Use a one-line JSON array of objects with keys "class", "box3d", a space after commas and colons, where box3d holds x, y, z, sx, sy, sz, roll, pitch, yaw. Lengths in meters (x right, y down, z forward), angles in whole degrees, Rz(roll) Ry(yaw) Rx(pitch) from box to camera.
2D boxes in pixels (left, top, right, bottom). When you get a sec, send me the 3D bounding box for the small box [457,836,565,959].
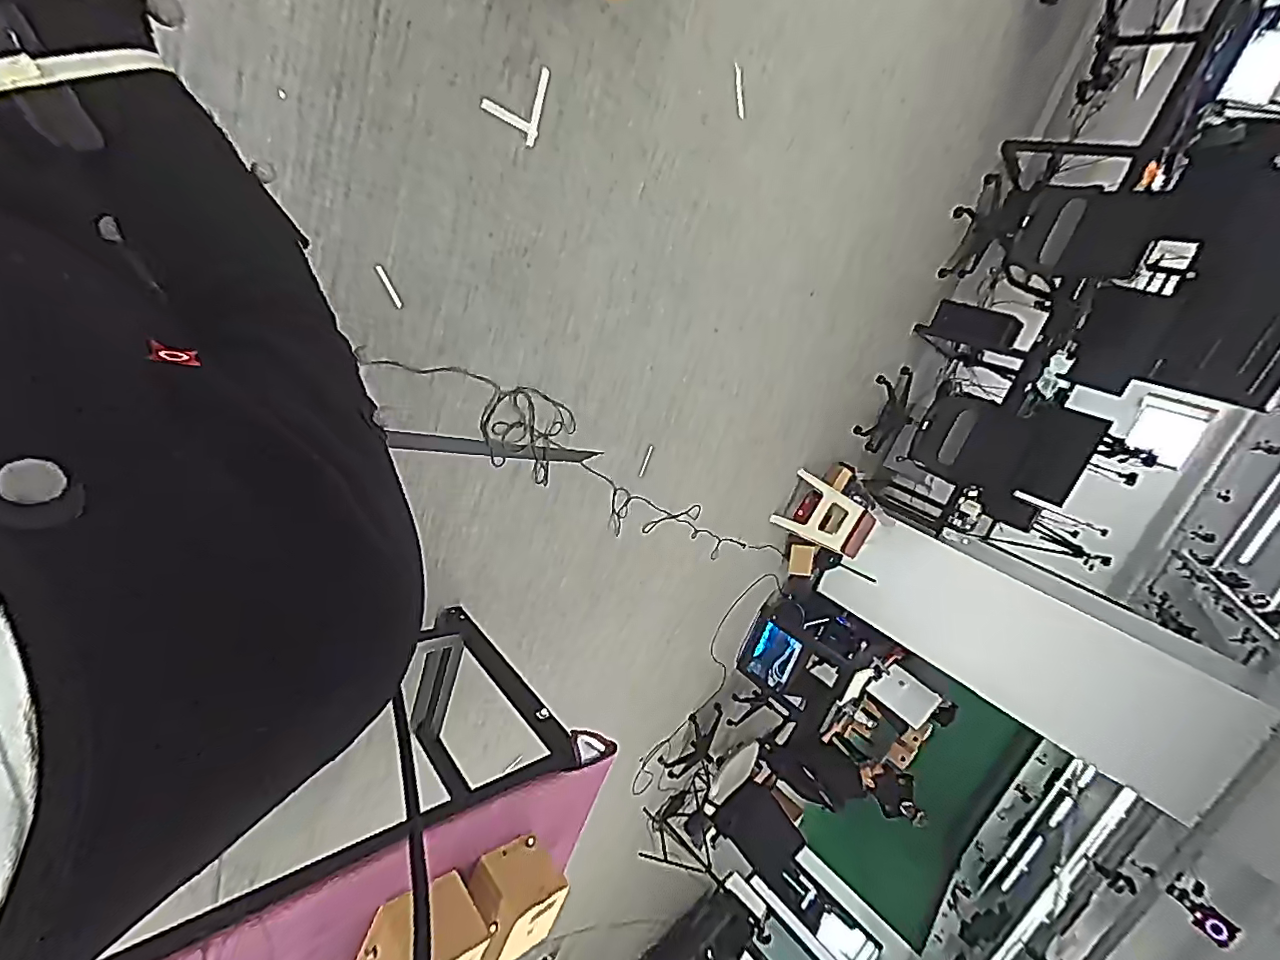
[{"class": "small box", "box3d": [-0.318, 1.009, 1.311, 0.168, 0.176, 0.179, 11, 107, -51]}]
